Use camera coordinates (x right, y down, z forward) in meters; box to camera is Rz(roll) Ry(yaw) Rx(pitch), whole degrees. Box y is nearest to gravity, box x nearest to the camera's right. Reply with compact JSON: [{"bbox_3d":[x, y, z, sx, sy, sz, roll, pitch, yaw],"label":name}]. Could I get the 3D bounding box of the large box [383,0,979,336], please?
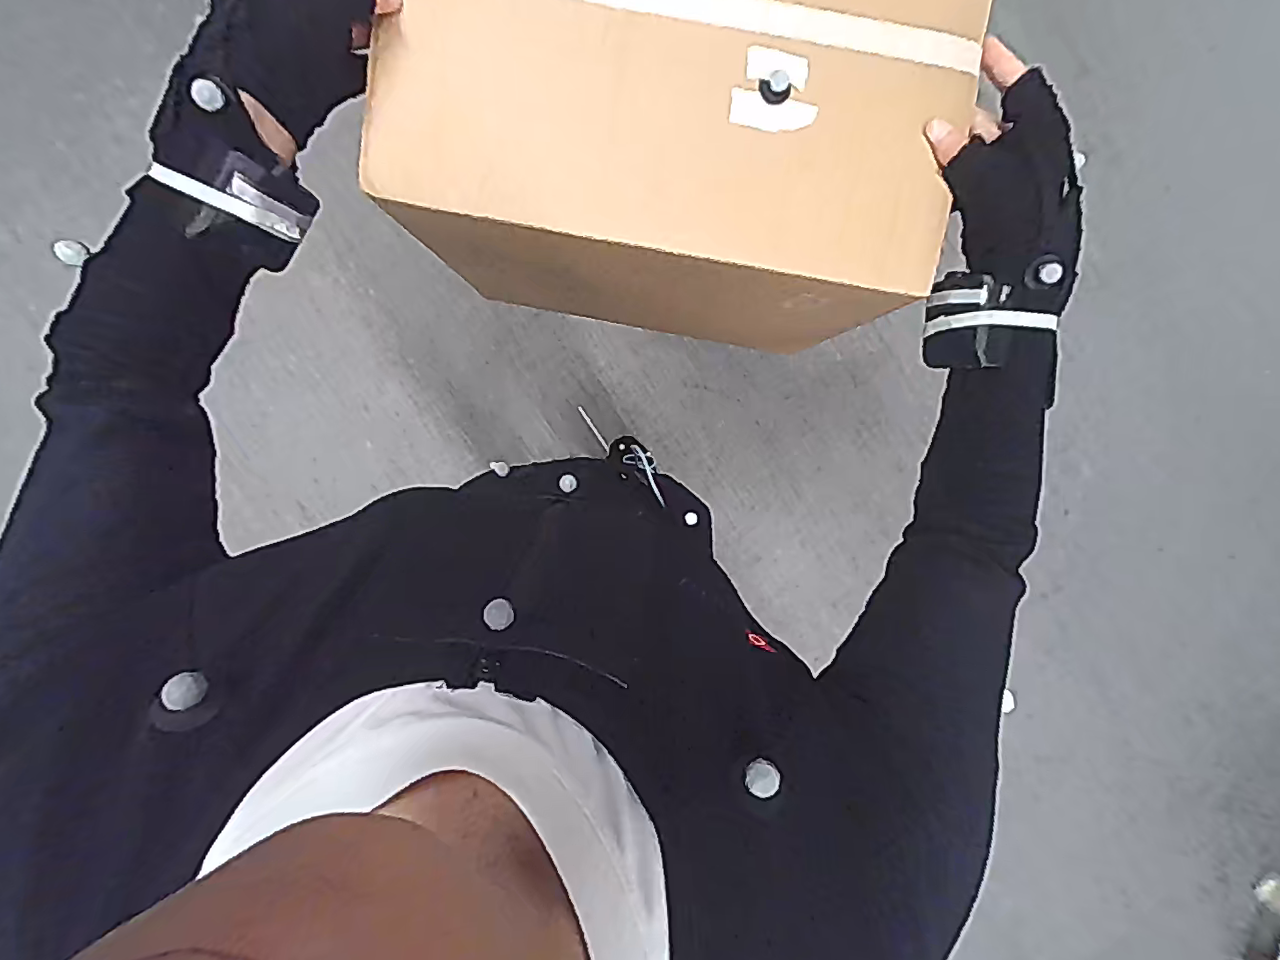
[{"bbox_3d":[0.029,-0.342,0.520,0.408,0.320,0.320,8,97,-2],"label":"large box"}]
